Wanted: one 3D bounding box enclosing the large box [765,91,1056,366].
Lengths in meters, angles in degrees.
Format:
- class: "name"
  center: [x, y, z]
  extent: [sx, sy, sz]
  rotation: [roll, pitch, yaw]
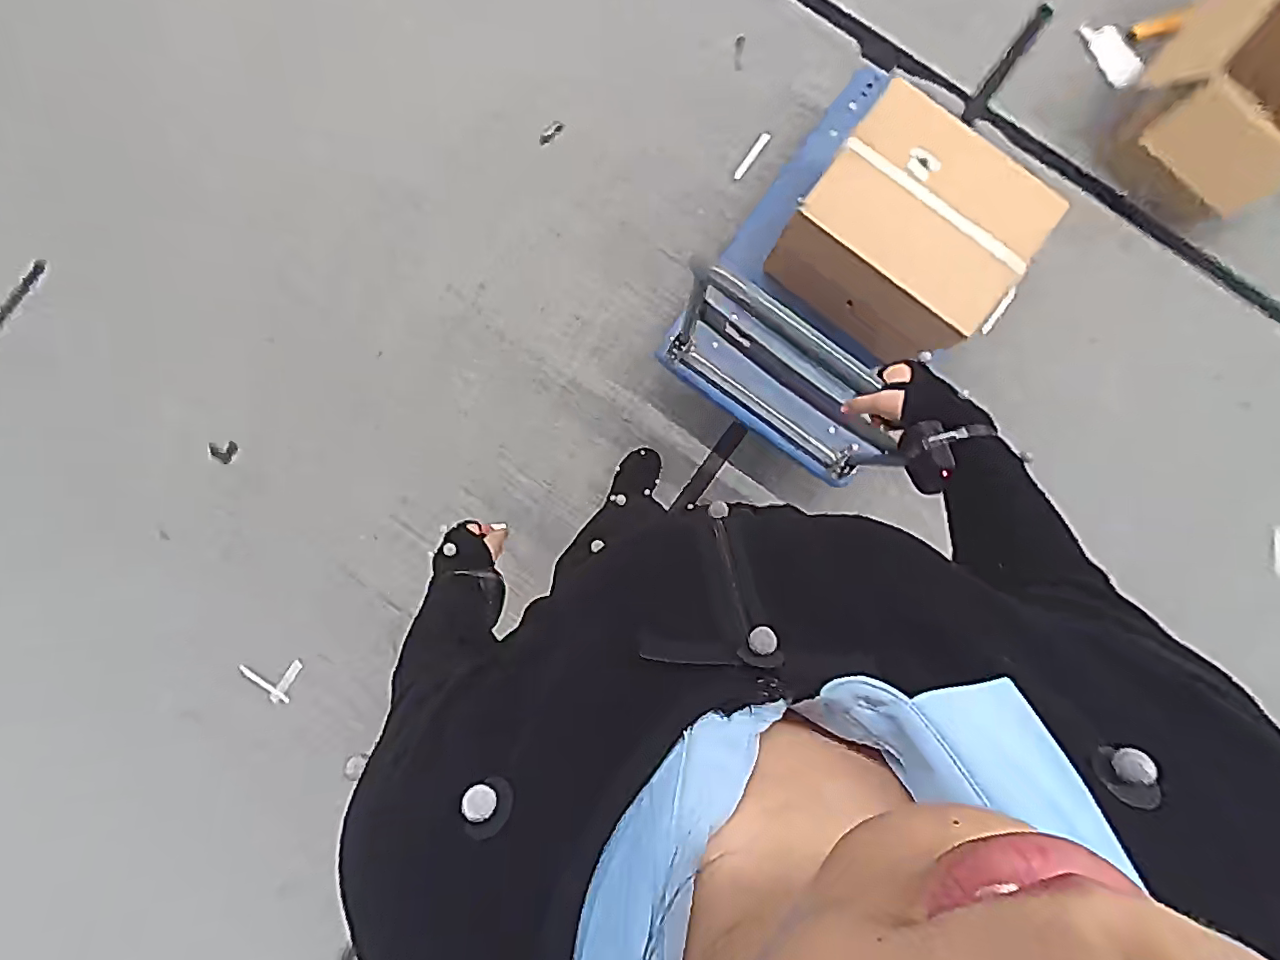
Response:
- class: "large box"
  center: [0.549, -0.509, 1.180]
  extent: [0.408, 0.320, 0.320]
  rotation: [37, 90, 1]
